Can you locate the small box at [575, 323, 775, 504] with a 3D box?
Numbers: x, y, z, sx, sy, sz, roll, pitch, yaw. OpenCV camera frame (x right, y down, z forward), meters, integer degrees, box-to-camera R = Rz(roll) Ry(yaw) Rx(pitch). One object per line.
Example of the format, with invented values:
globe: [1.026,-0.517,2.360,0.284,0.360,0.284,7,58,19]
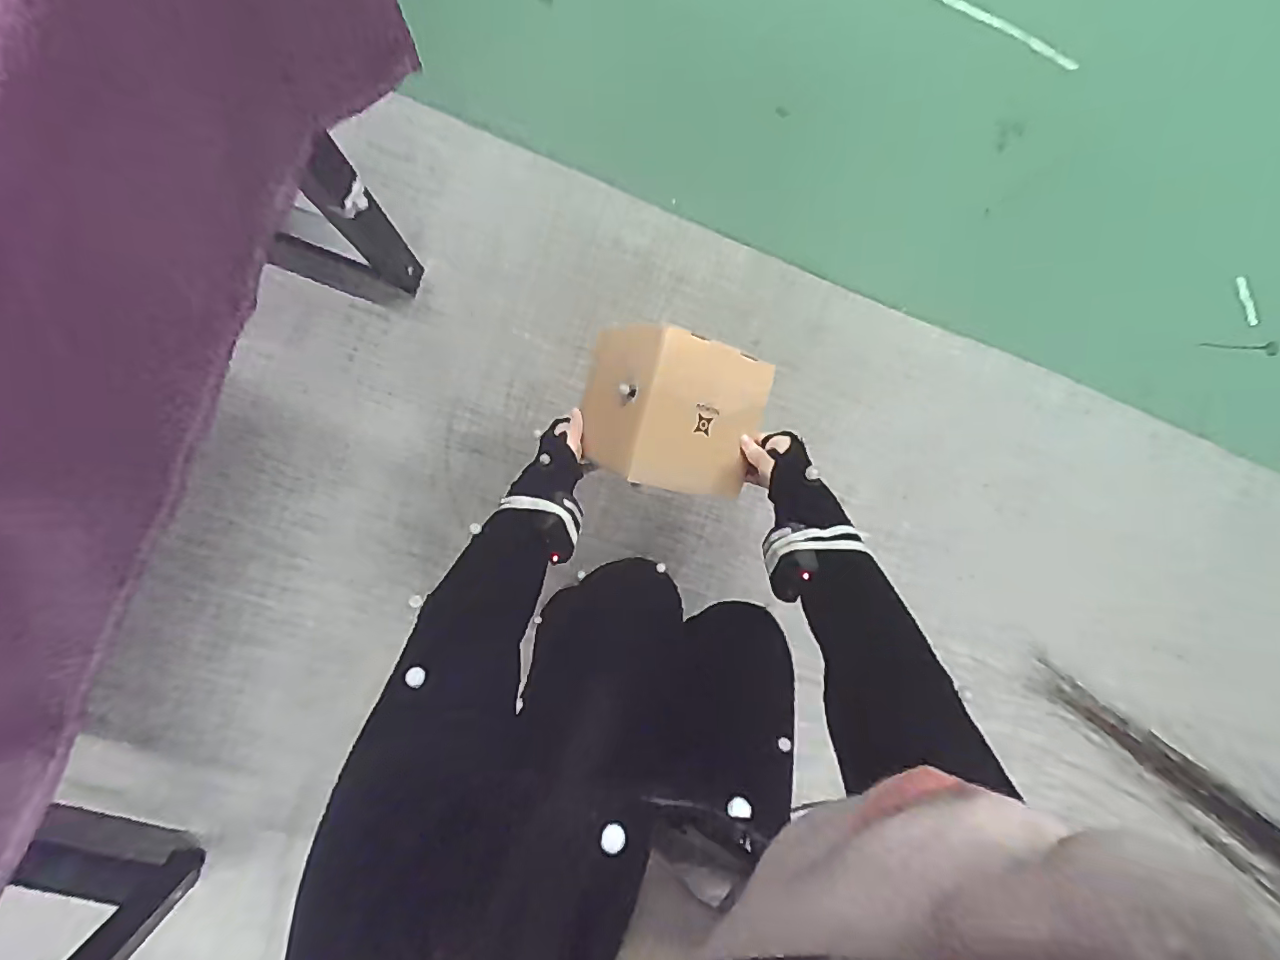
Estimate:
small box: [0.034,-0.084,0.679,0.168,0.176,0.179,11,96,-32]
